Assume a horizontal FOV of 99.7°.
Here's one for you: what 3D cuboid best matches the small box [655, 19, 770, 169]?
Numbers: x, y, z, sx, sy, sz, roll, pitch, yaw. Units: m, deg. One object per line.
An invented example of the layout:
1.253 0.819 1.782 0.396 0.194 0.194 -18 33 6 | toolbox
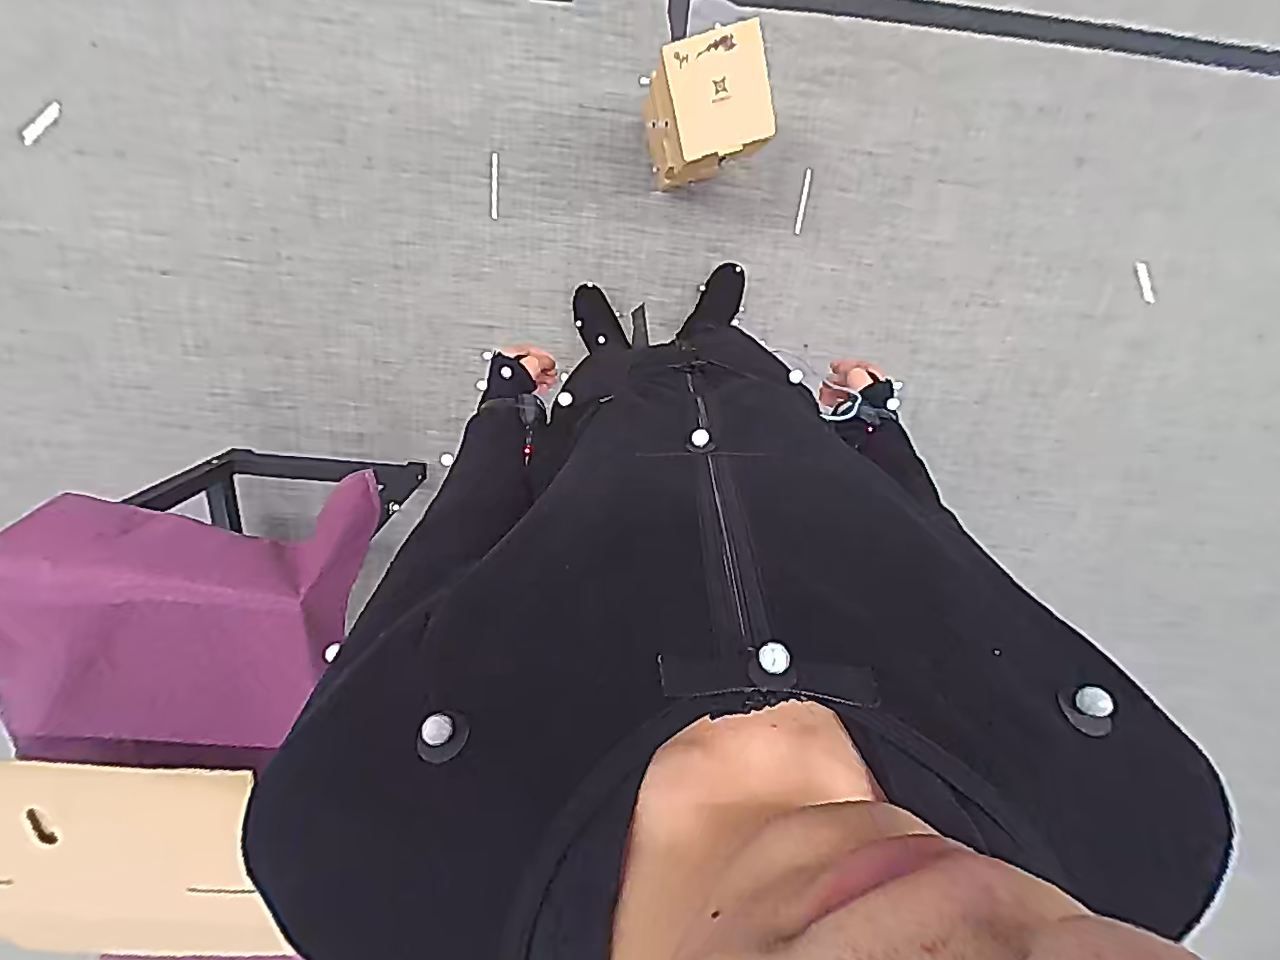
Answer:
0.128 -0.687 0.989 0.168 0.176 0.179 -14 113 3 | small box
